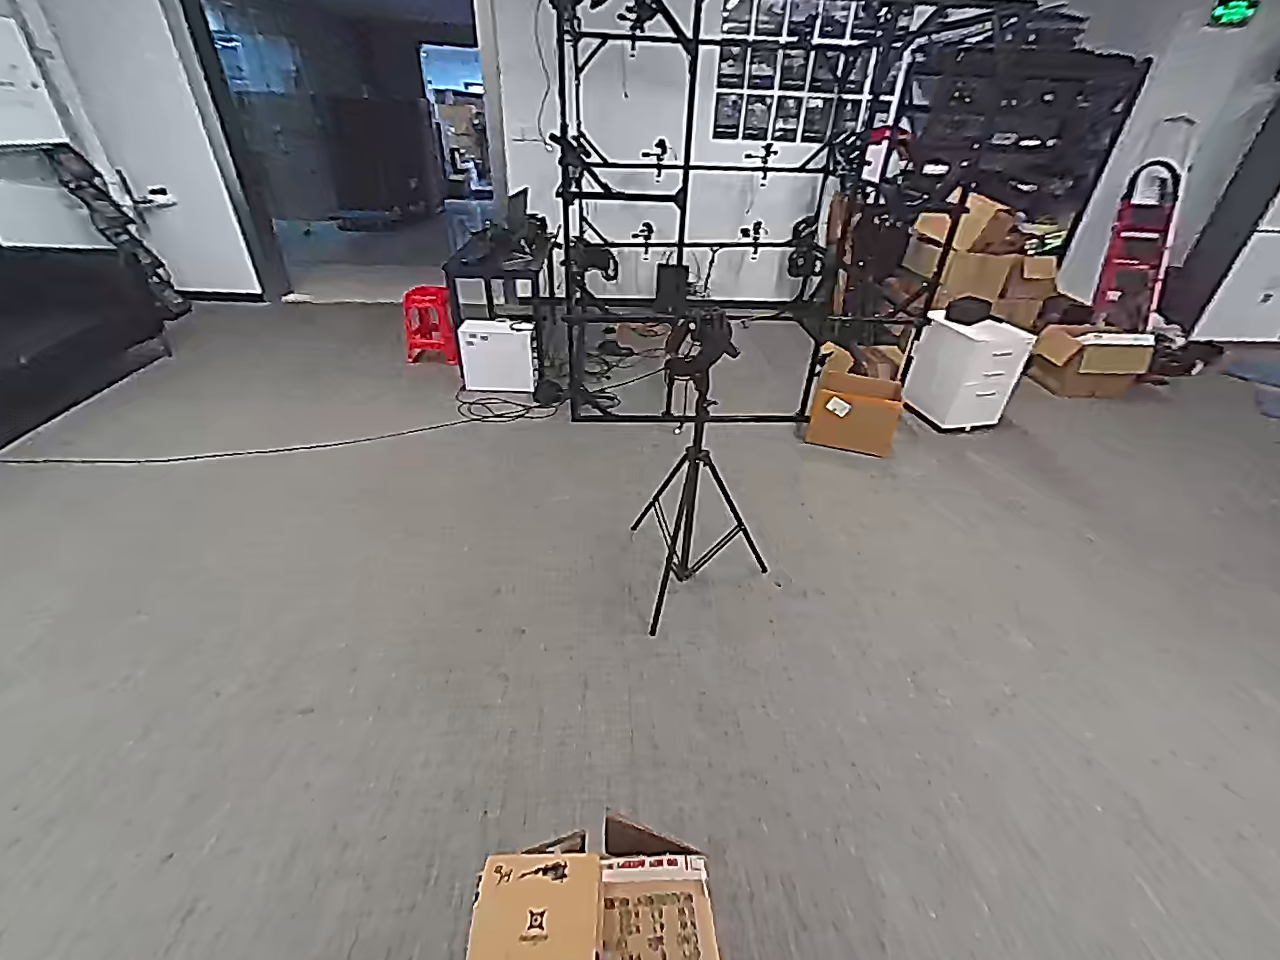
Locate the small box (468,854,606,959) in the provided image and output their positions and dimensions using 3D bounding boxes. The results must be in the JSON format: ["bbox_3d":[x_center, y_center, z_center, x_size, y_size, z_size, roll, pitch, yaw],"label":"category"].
[{"bbox_3d":[-0.135,0.655,0.755,0.168,0.176,0.179,0,36,-1],"label":"small box"}]
